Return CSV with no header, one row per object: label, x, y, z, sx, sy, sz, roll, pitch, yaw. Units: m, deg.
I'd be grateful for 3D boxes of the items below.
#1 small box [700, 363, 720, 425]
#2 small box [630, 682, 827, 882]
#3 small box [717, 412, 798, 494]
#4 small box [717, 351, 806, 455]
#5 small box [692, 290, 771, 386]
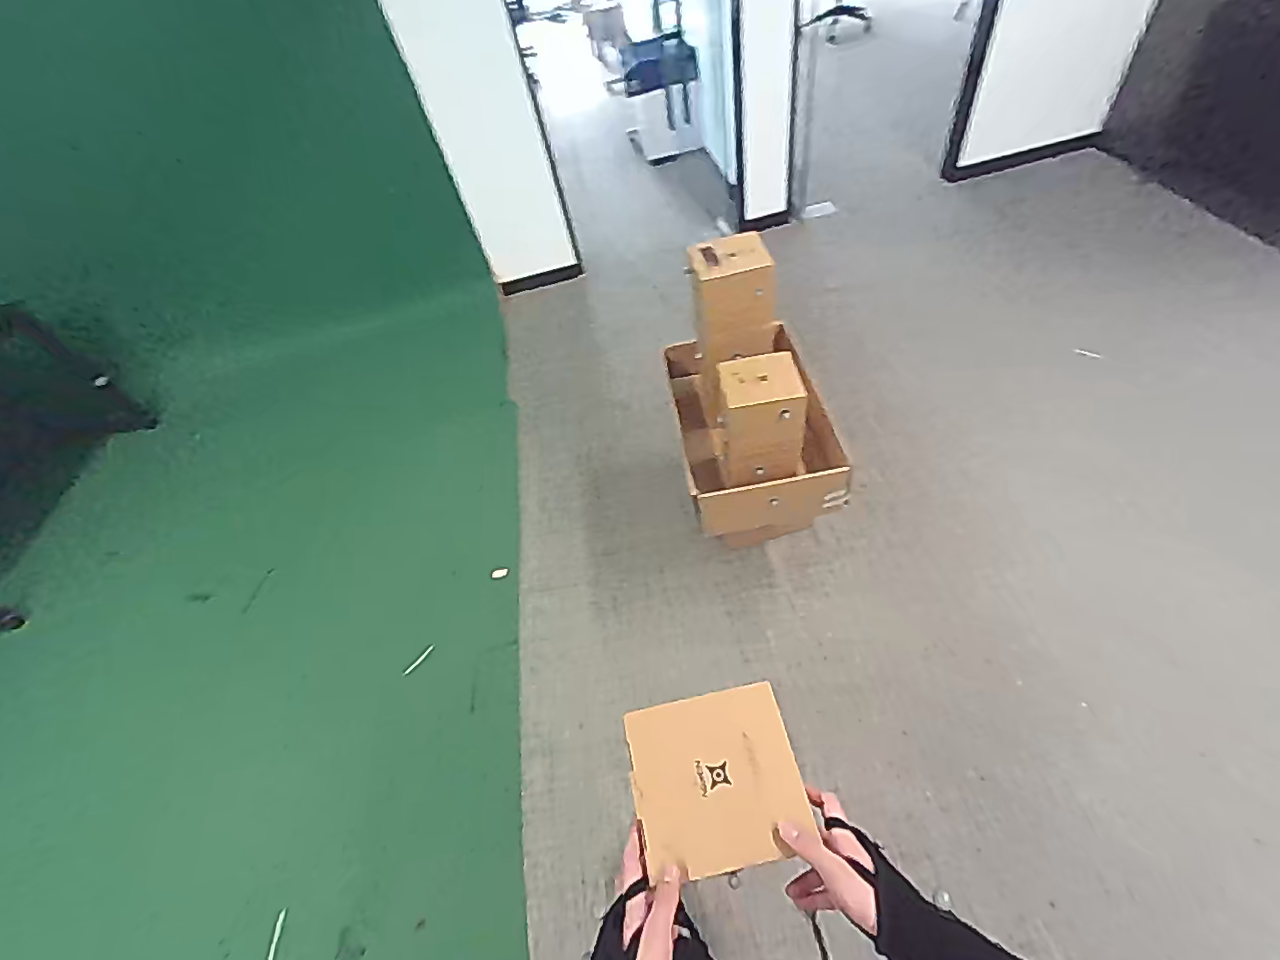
small box,0.276,-0.286,1.603,0.179,0.176,0.168,-11,51,3
small box,0.094,0.357,0.632,0.179,0.176,0.168,-11,54,-1
small box,0.309,-0.081,1.429,0.179,0.176,0.168,-10,50,4
small box,0.287,-0.181,1.300,0.179,0.176,0.168,-9,49,5
small box,0.249,-0.383,1.473,0.179,0.176,0.168,-13,51,3
